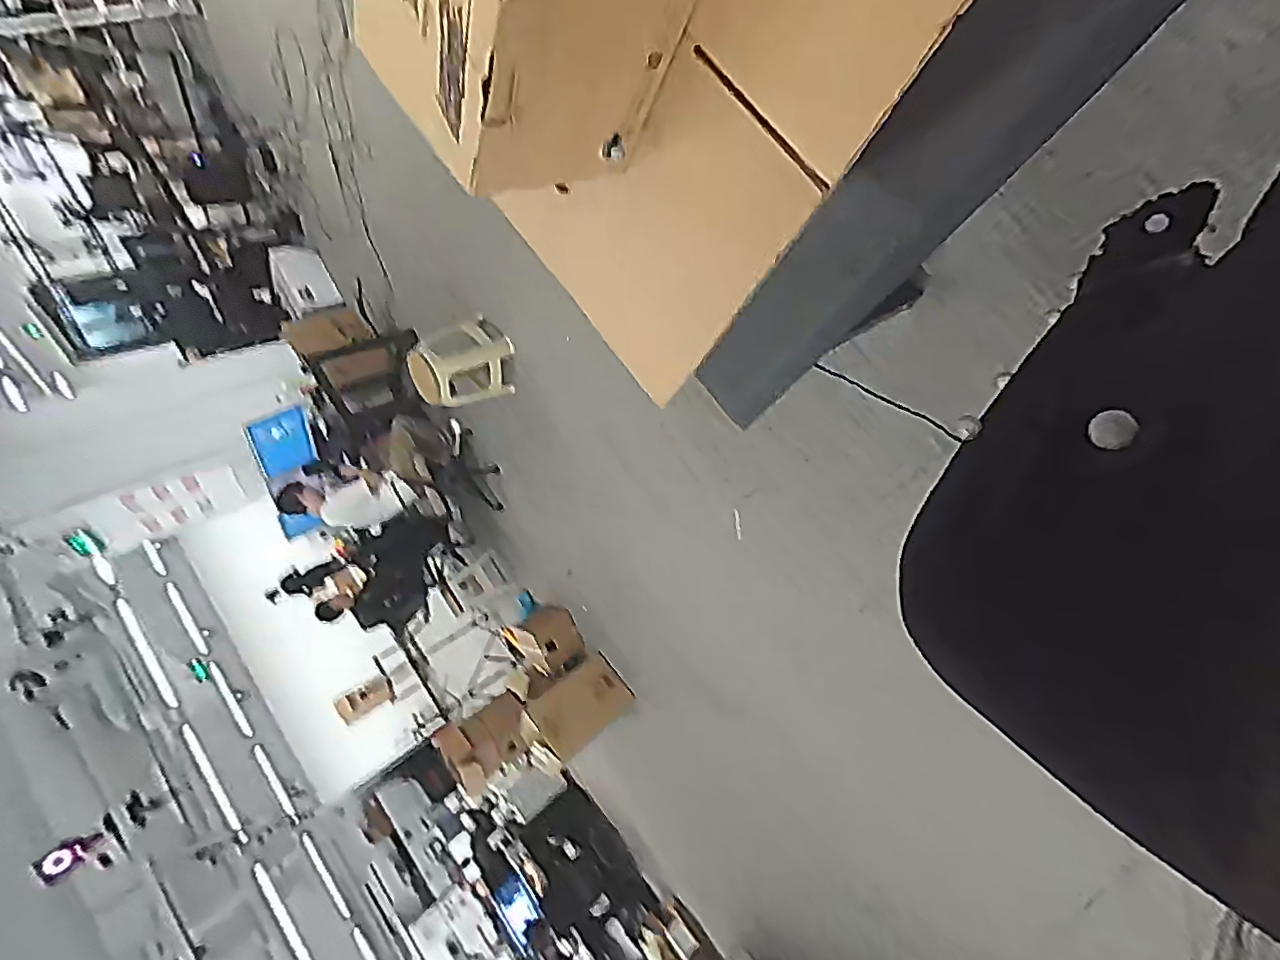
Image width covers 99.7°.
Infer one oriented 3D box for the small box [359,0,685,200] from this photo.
[{"bbox_3d":[-0.095,-0.359,0.422,0.179,0.176,0.168,54,145,8],"label":"small box"}]
